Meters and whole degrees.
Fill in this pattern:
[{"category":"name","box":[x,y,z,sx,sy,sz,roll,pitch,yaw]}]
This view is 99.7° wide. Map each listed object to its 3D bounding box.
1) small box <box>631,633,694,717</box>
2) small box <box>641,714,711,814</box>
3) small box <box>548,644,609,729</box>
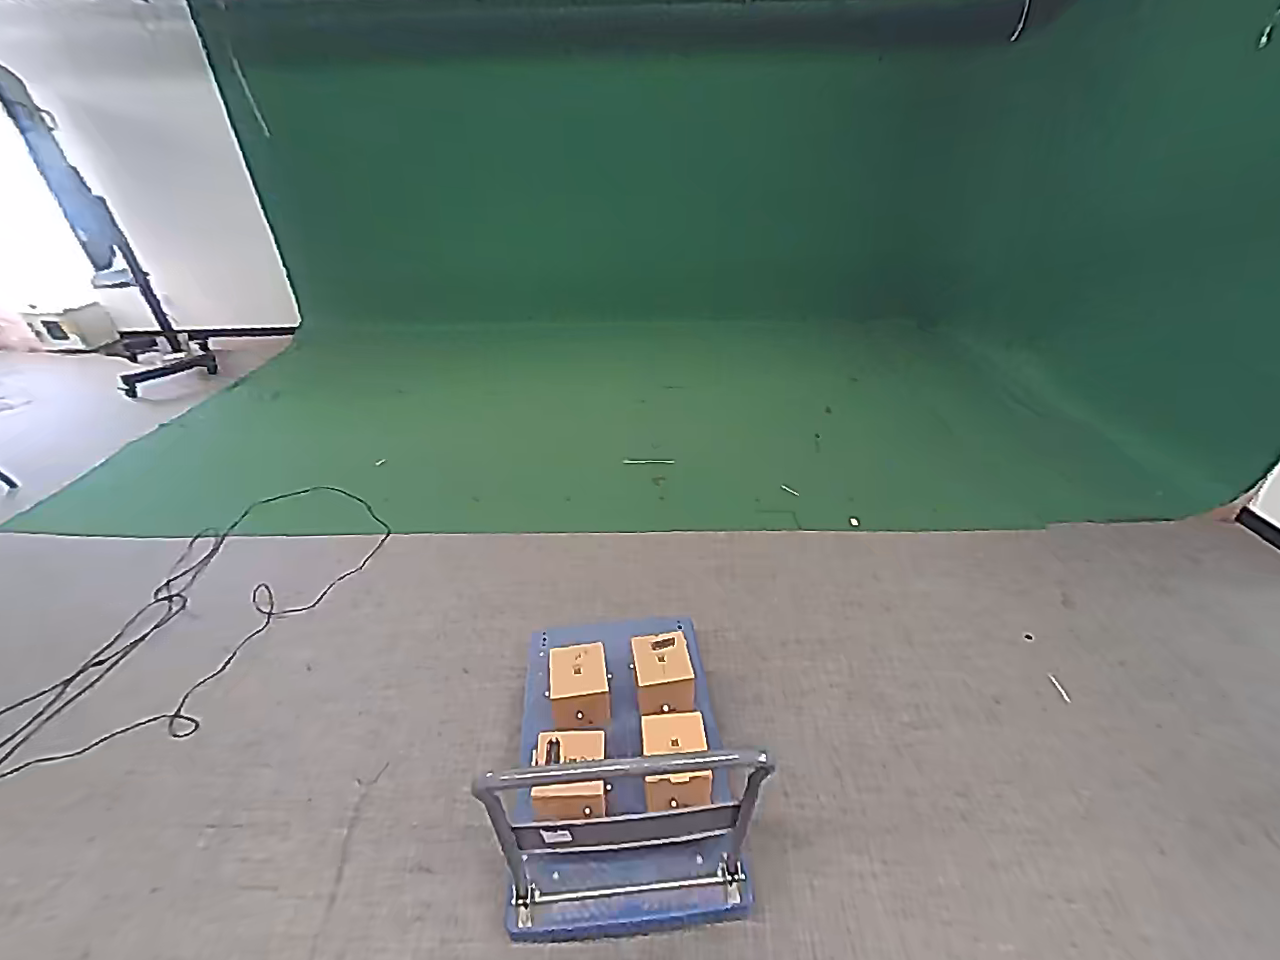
[{"category":"small box","box":[0.064,0.600,1.657,0.168,0.176,0.179,-6,36,-6]},{"category":"small box","box":[0.088,0.753,1.435,0.168,0.176,0.179,-3,35,-3]},{"category":"small box","box":[-0.185,0.625,1.626,0.168,0.176,0.179,-5,35,-7]}]
